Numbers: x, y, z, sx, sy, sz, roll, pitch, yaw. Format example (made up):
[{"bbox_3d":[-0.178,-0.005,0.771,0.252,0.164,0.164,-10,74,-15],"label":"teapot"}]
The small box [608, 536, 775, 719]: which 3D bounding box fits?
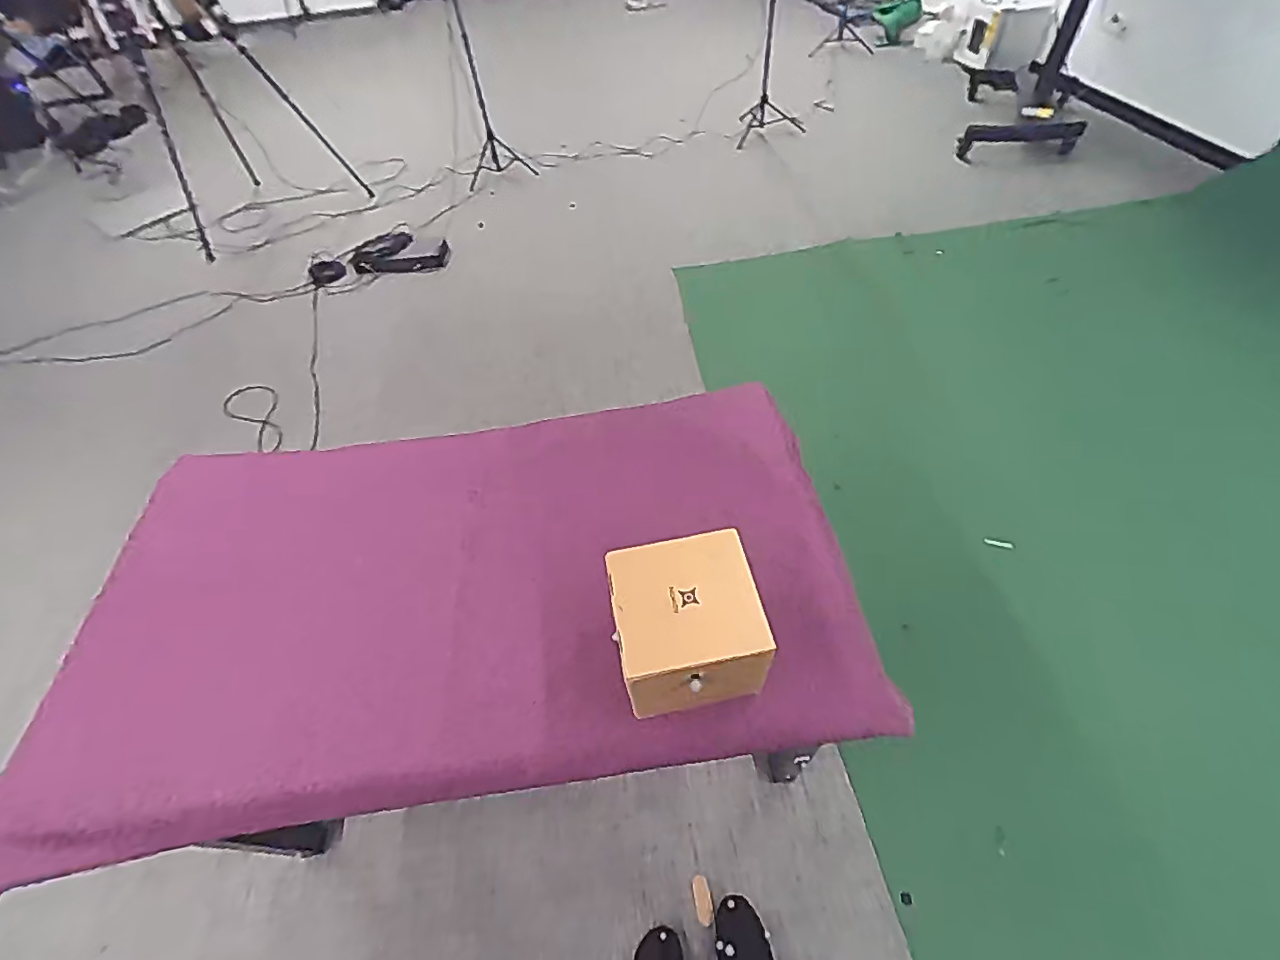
[{"bbox_3d":[0.062,0.199,0.717,0.179,0.176,0.168,-11,52,-2],"label":"small box"}]
